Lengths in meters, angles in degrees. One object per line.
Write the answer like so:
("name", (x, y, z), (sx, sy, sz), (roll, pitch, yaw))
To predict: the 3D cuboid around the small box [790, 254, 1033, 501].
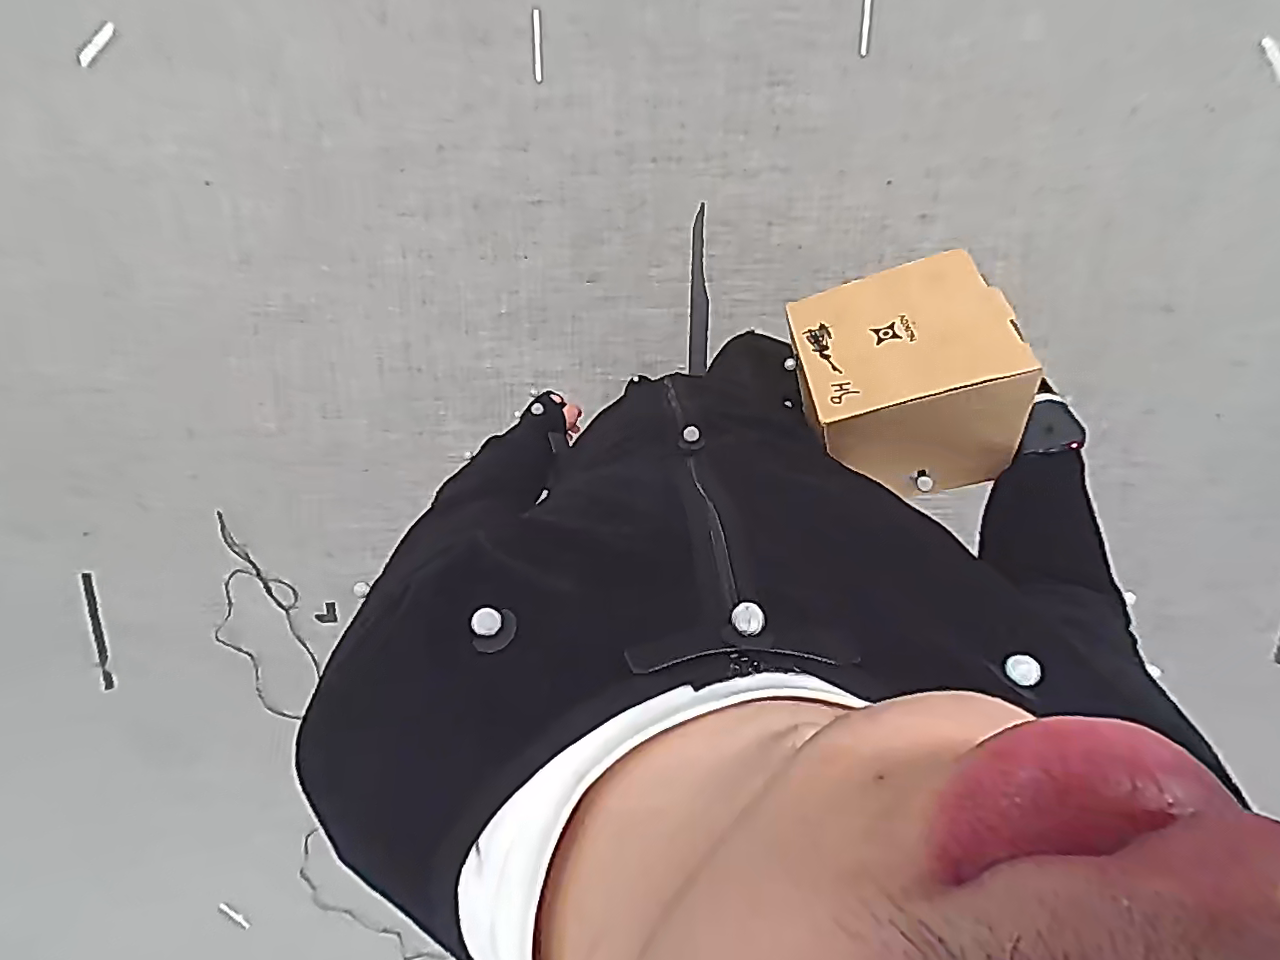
("small box", (0.271, -0.099, 0.578), (0.179, 0.168, 0.176), (-14, 143, 15))
